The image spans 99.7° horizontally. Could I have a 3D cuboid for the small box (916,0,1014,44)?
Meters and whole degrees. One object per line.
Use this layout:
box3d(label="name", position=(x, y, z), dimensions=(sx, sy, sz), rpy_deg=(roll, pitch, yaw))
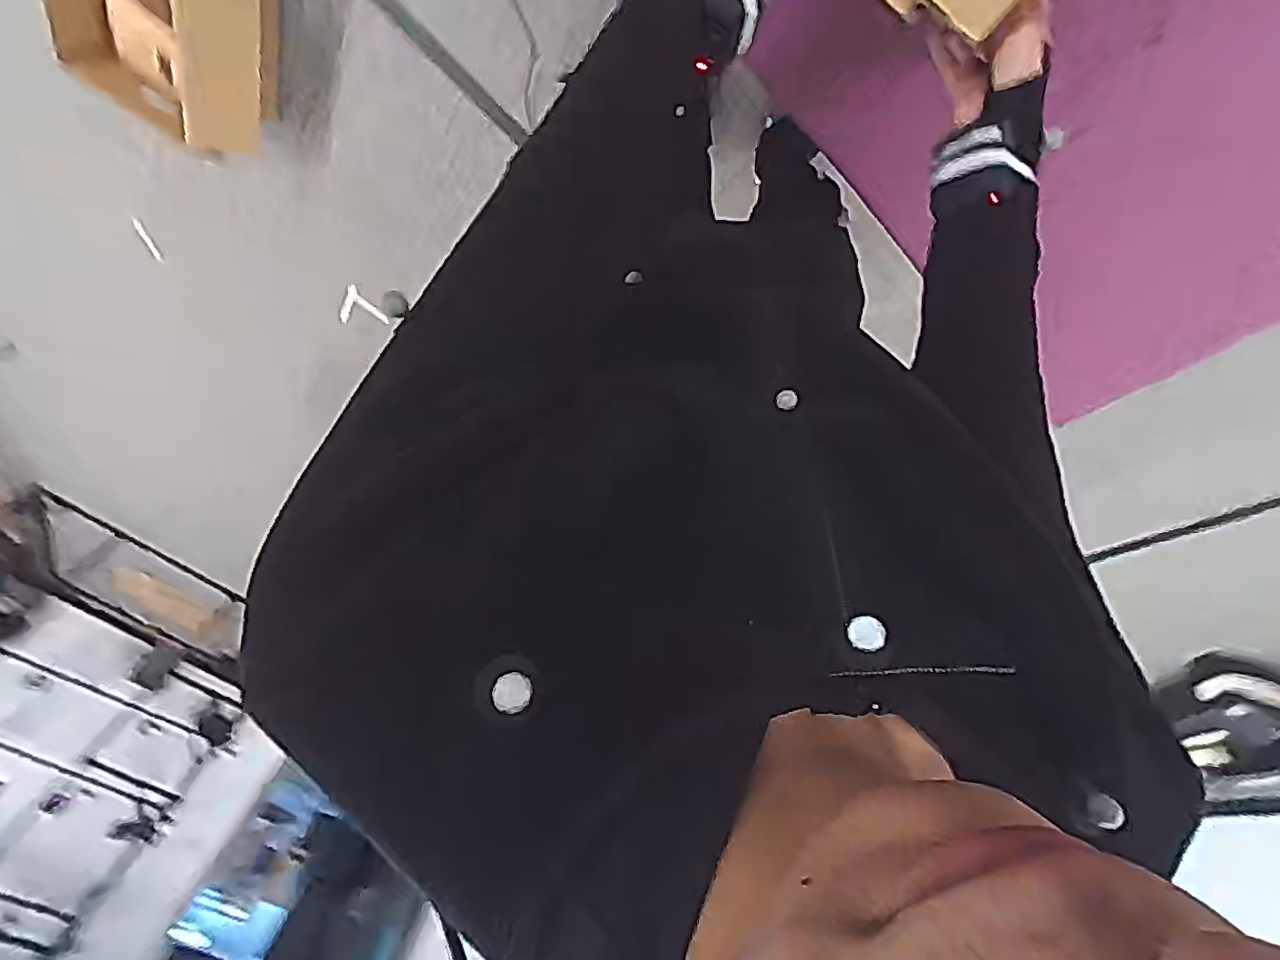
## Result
box3d(label="small box", position=(0.262, -0.484, 0.409), dimensions=(0.168, 0.176, 0.179), rpy_deg=(32, 134, -13))
